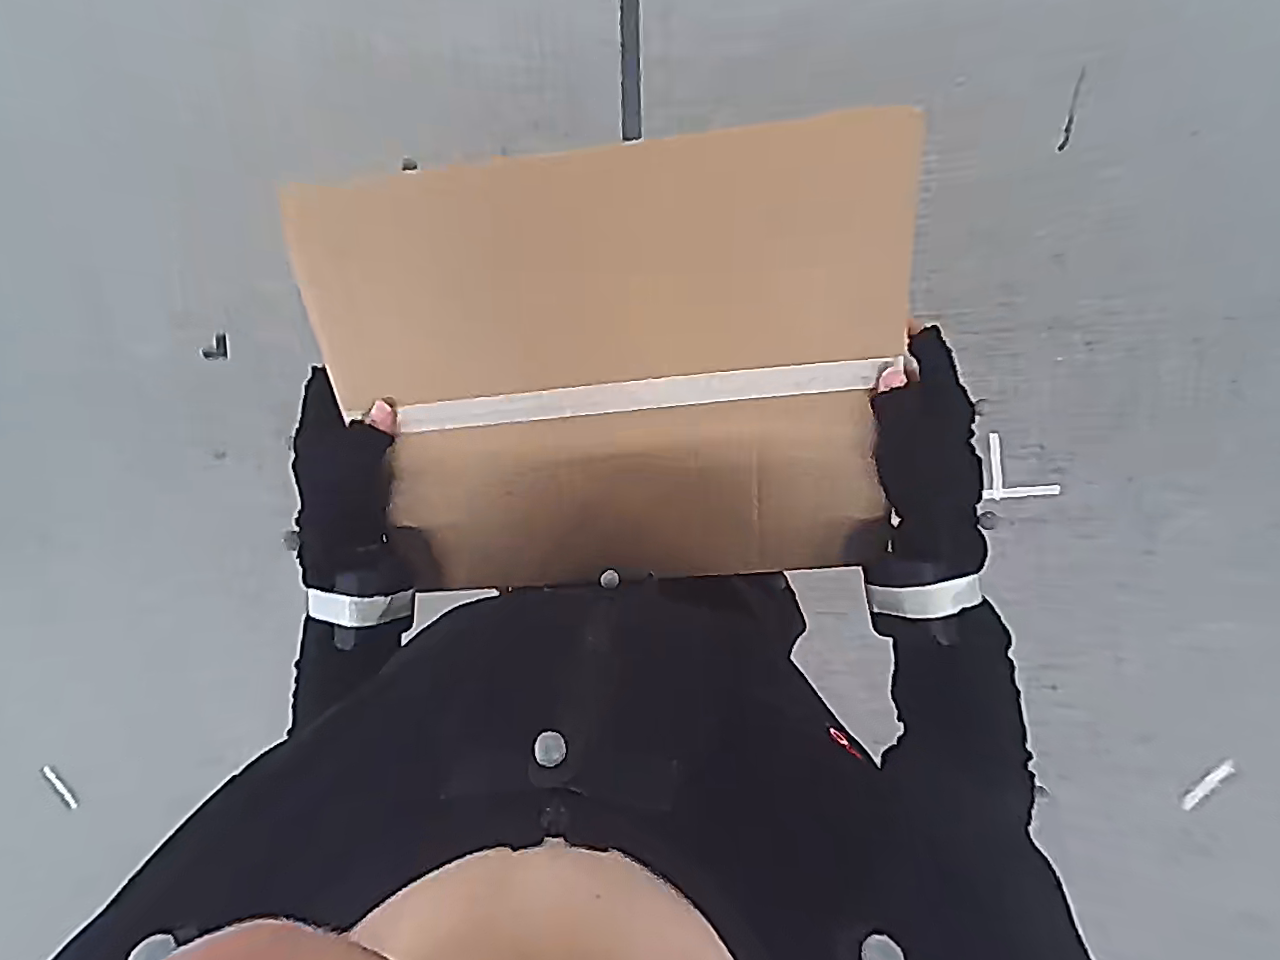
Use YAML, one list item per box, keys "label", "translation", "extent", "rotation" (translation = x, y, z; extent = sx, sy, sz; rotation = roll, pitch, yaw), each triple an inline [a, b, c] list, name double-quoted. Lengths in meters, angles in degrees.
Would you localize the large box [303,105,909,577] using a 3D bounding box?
- label: "large box"
  translation: [-0.010, -0.128, 0.538]
  extent: [0.408, 0.320, 0.320]
  rotation: [-4, 114, 5]
